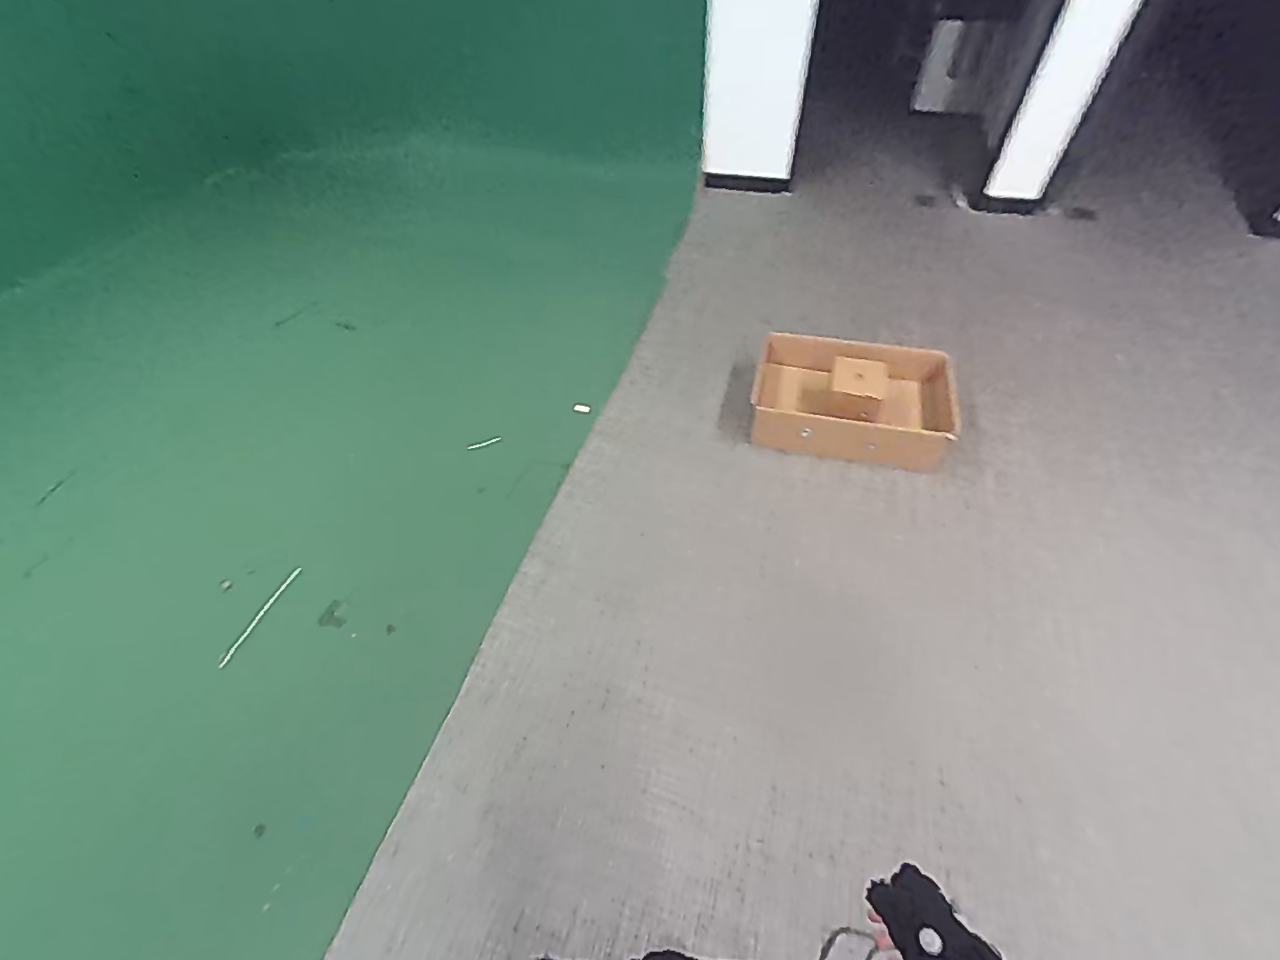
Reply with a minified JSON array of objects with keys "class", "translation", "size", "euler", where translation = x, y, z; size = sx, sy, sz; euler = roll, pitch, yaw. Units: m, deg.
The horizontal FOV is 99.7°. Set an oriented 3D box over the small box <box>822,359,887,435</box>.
[{"class":"small box","translation":[0.713,-0.273,1.803],"size":[0.168,0.176,0.179],"euler":[12,52,12]}]
